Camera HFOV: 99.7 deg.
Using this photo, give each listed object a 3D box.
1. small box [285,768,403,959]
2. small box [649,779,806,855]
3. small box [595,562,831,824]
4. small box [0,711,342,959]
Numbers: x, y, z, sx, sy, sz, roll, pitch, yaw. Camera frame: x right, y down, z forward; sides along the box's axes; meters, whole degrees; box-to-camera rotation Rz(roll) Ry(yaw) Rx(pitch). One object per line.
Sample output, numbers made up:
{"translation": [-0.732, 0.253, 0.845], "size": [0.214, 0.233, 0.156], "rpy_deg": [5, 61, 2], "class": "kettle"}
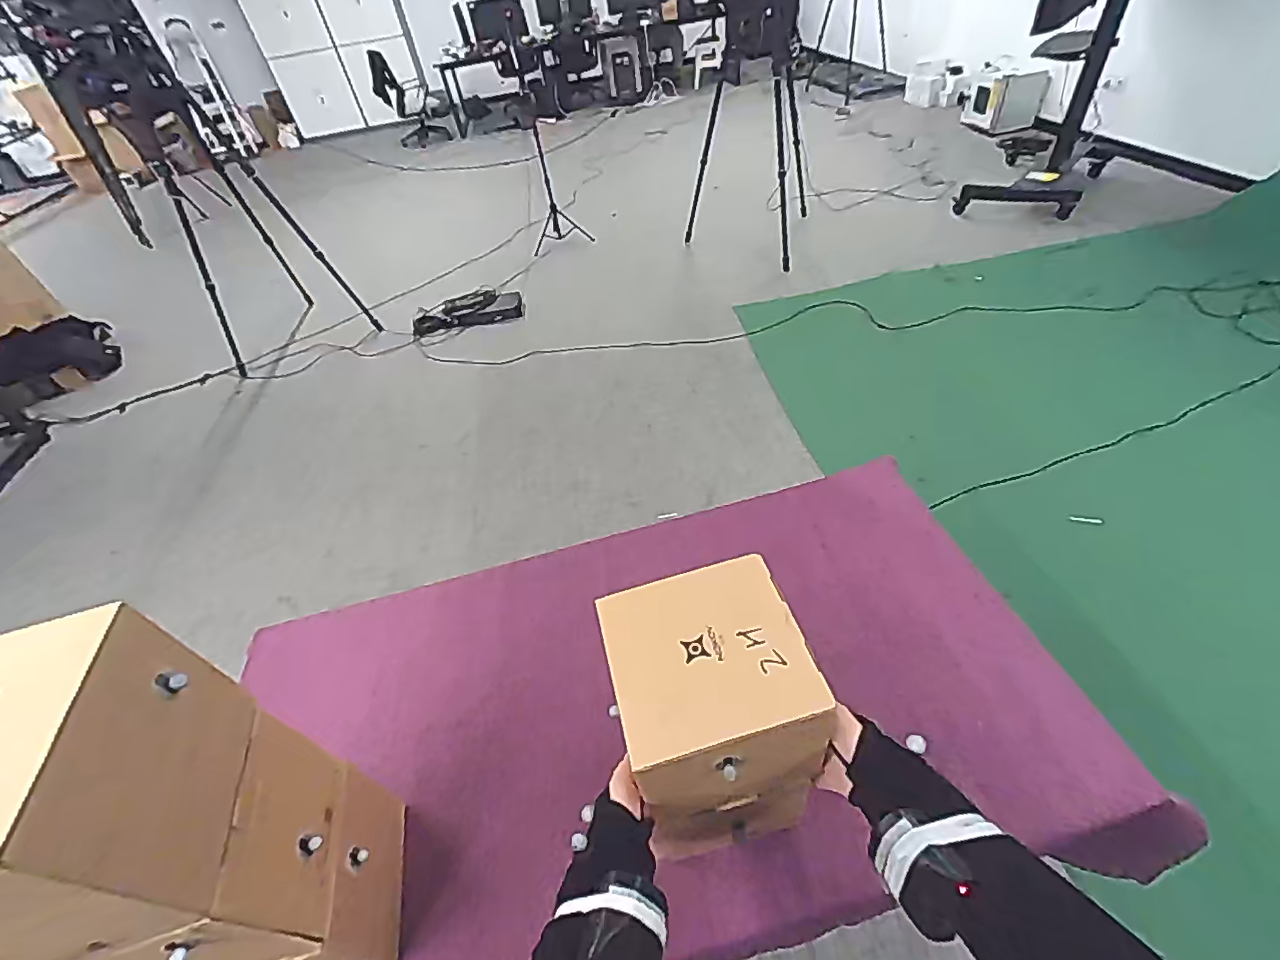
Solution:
{"translation": [-0.385, 0.463, 0.608], "size": [0.168, 0.176, 0.179], "rpy_deg": [-14, 44, -6], "class": "small box"}
{"translation": [0.085, 0.331, 0.657], "size": [0.168, 0.176, 0.179], "rpy_deg": [-14, 45, -4], "class": "small box"}
{"translation": [0.067, 0.215, 0.540], "size": [0.179, 0.176, 0.168], "rpy_deg": [-14, 45, -4], "class": "small box"}
{"translation": [-0.408, 0.349, 0.495], "size": [0.179, 0.176, 0.168], "rpy_deg": [-15, 45, -8], "class": "small box"}
